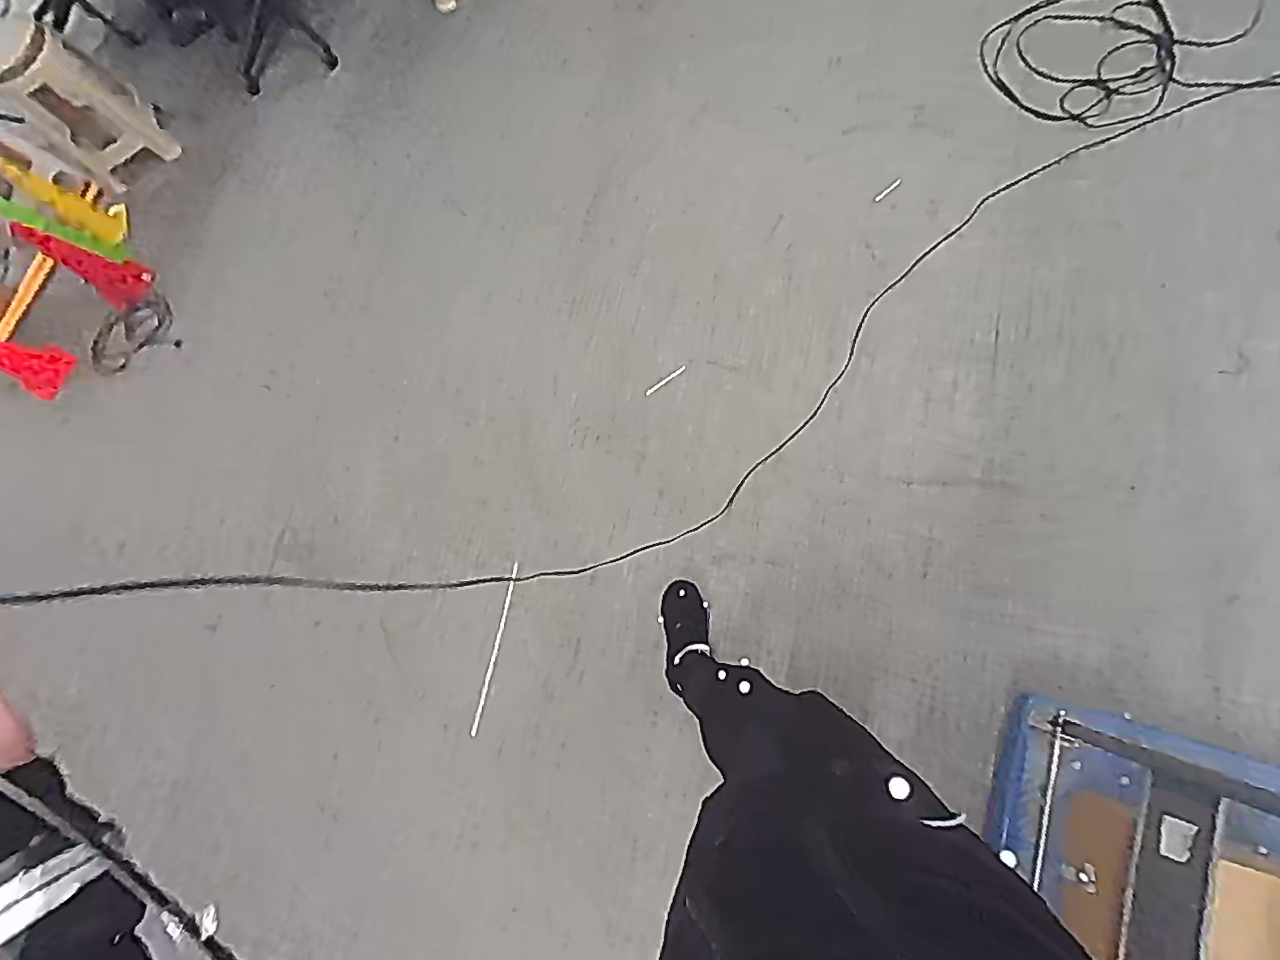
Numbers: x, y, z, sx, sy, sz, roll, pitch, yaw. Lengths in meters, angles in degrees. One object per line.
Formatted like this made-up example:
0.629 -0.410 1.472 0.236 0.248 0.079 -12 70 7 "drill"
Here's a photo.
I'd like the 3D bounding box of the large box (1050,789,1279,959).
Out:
0.959 0.751 0.849 0.408 0.320 0.320 14 80 14 "large box"
